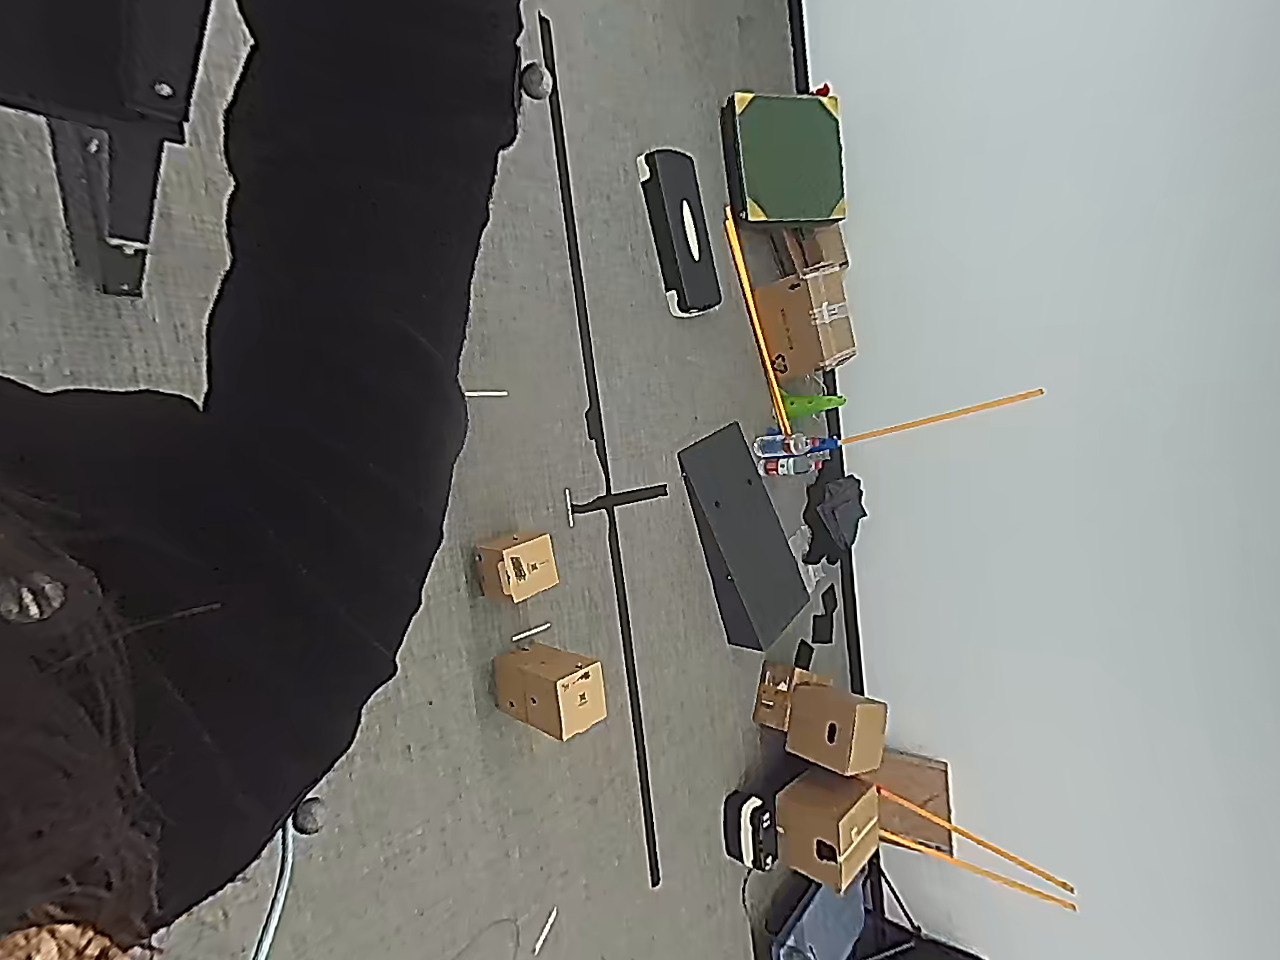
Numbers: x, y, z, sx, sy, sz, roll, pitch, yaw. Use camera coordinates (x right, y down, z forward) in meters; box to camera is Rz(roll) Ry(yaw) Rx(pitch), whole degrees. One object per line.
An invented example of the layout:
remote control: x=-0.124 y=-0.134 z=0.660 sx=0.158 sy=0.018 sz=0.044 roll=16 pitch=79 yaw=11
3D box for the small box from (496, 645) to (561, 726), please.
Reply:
small box: x=-0.337 y=0.641 z=1.709 sx=0.168 sy=0.176 sz=0.179 roll=-7 pitch=93 yaw=-46

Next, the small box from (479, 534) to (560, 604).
small box: x=-0.380 y=0.269 z=1.676 sx=0.179 sy=0.176 sz=0.168 roll=-19 pitch=102 yaw=-45

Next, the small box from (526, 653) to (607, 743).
small box: x=-0.219 y=0.635 z=1.596 sx=0.168 sy=0.176 sz=0.179 roll=-9 pitch=96 yaw=-46
